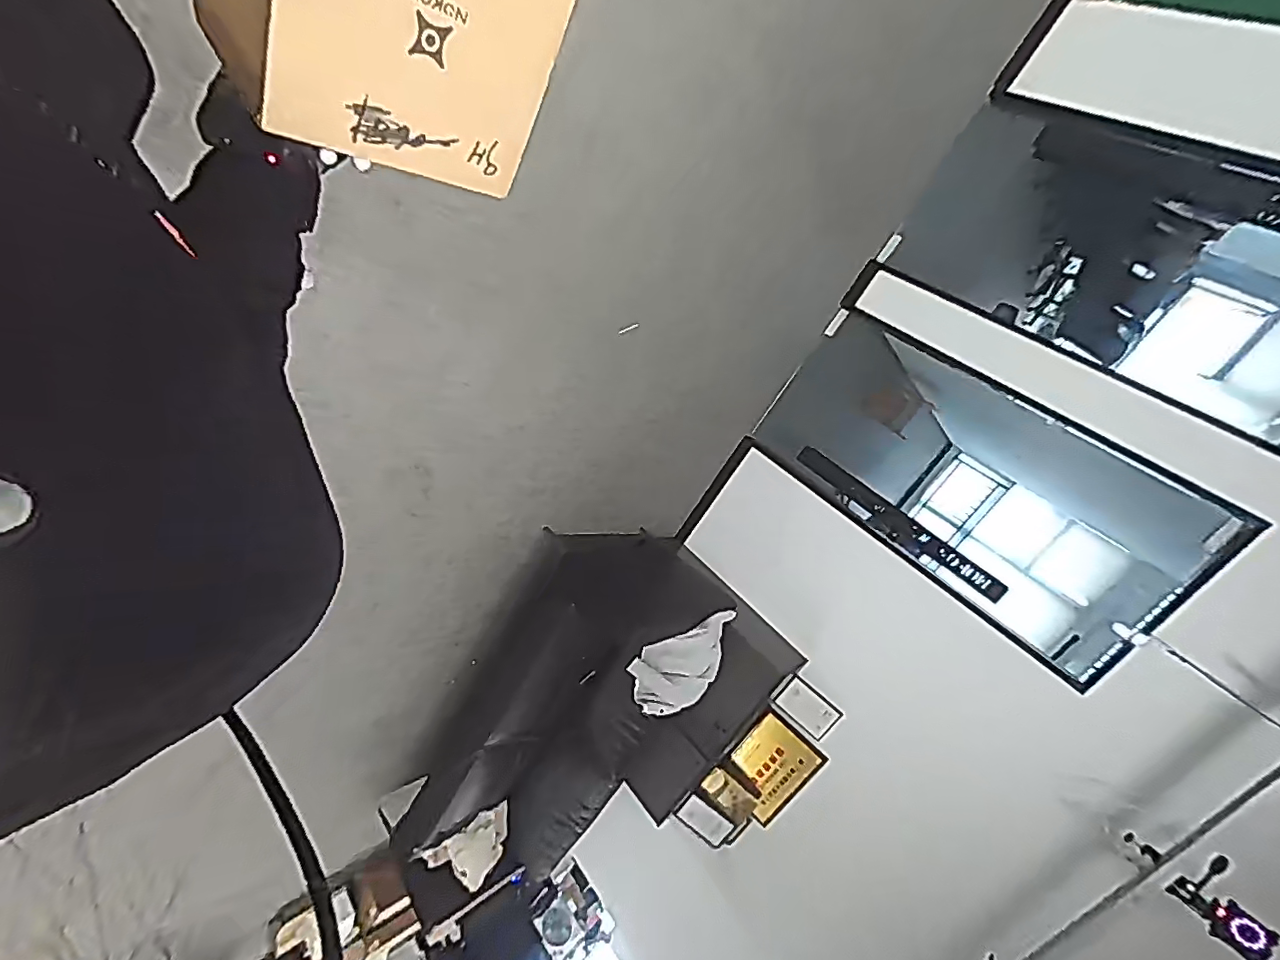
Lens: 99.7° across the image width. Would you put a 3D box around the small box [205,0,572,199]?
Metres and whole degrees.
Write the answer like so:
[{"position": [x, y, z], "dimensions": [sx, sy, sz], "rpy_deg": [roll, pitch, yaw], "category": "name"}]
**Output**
[{"position": [-0.171, -0.331, 0.361], "dimensions": [0.168, 0.176, 0.179], "rpy_deg": [-10, 144, -46], "category": "small box"}]
